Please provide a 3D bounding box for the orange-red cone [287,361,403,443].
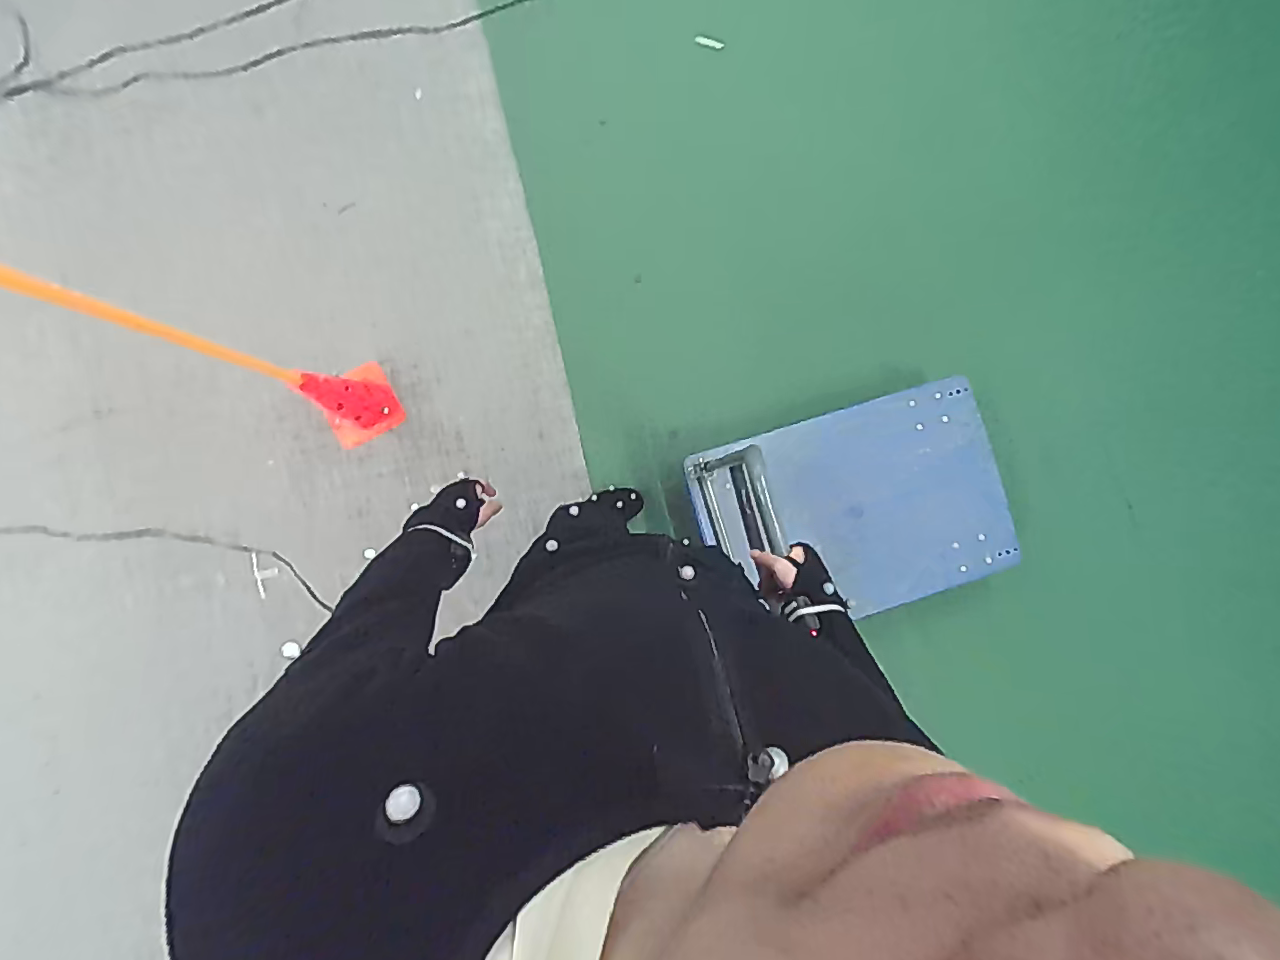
[{"bbox_3d":[-0.804,-0.236,1.409,0.198,0.360,0.199,-28,89,-5],"label":"orange-red cone"}]
